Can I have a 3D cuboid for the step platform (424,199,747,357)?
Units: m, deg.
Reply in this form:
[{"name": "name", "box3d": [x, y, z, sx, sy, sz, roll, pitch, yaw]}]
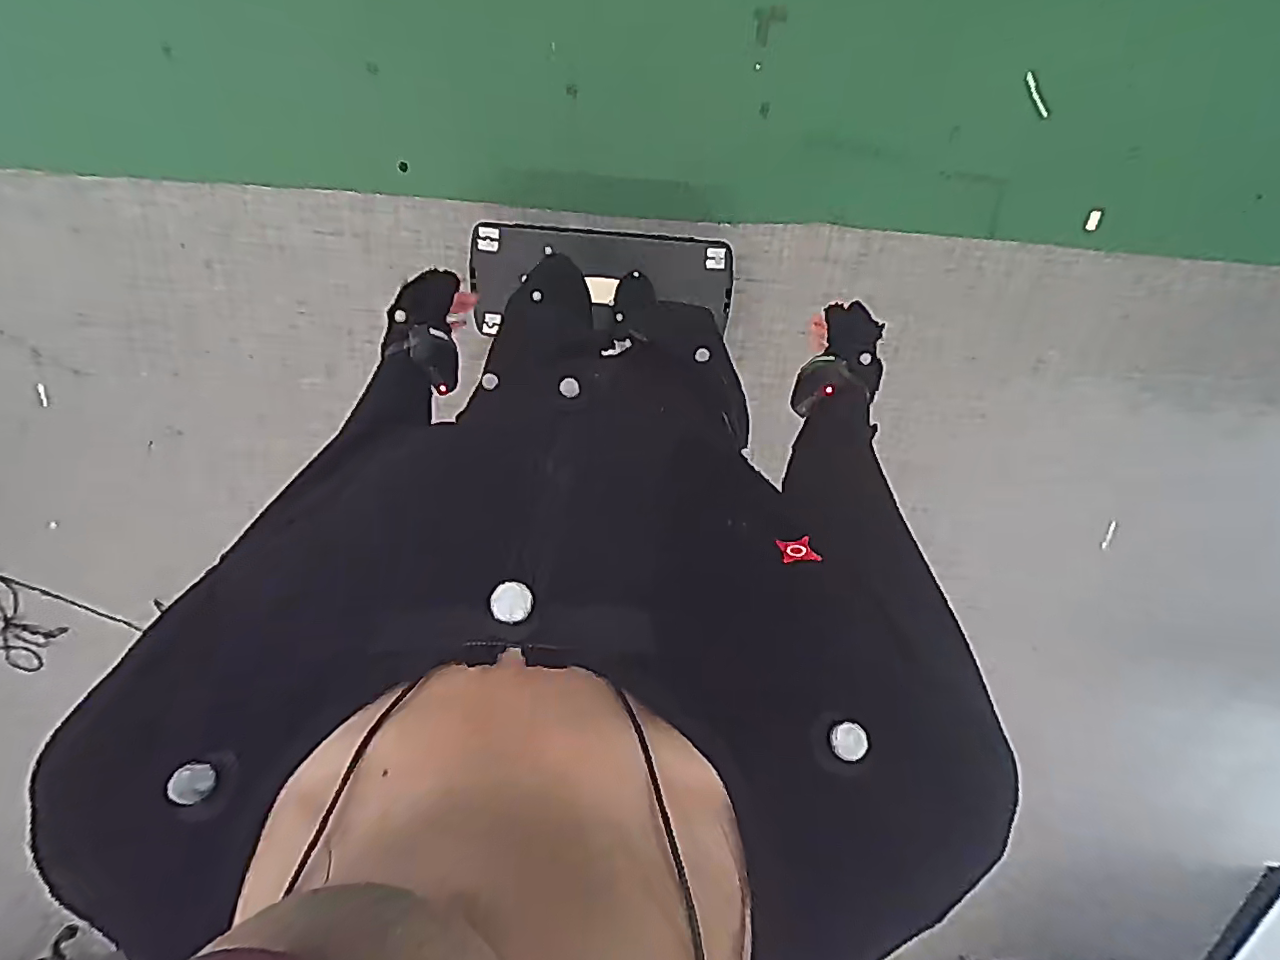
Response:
[{"name": "step platform", "box3d": [-0.114, -0.457, 1.240, 0.684, 0.204, 0.286, 3, 112, -2]}]
